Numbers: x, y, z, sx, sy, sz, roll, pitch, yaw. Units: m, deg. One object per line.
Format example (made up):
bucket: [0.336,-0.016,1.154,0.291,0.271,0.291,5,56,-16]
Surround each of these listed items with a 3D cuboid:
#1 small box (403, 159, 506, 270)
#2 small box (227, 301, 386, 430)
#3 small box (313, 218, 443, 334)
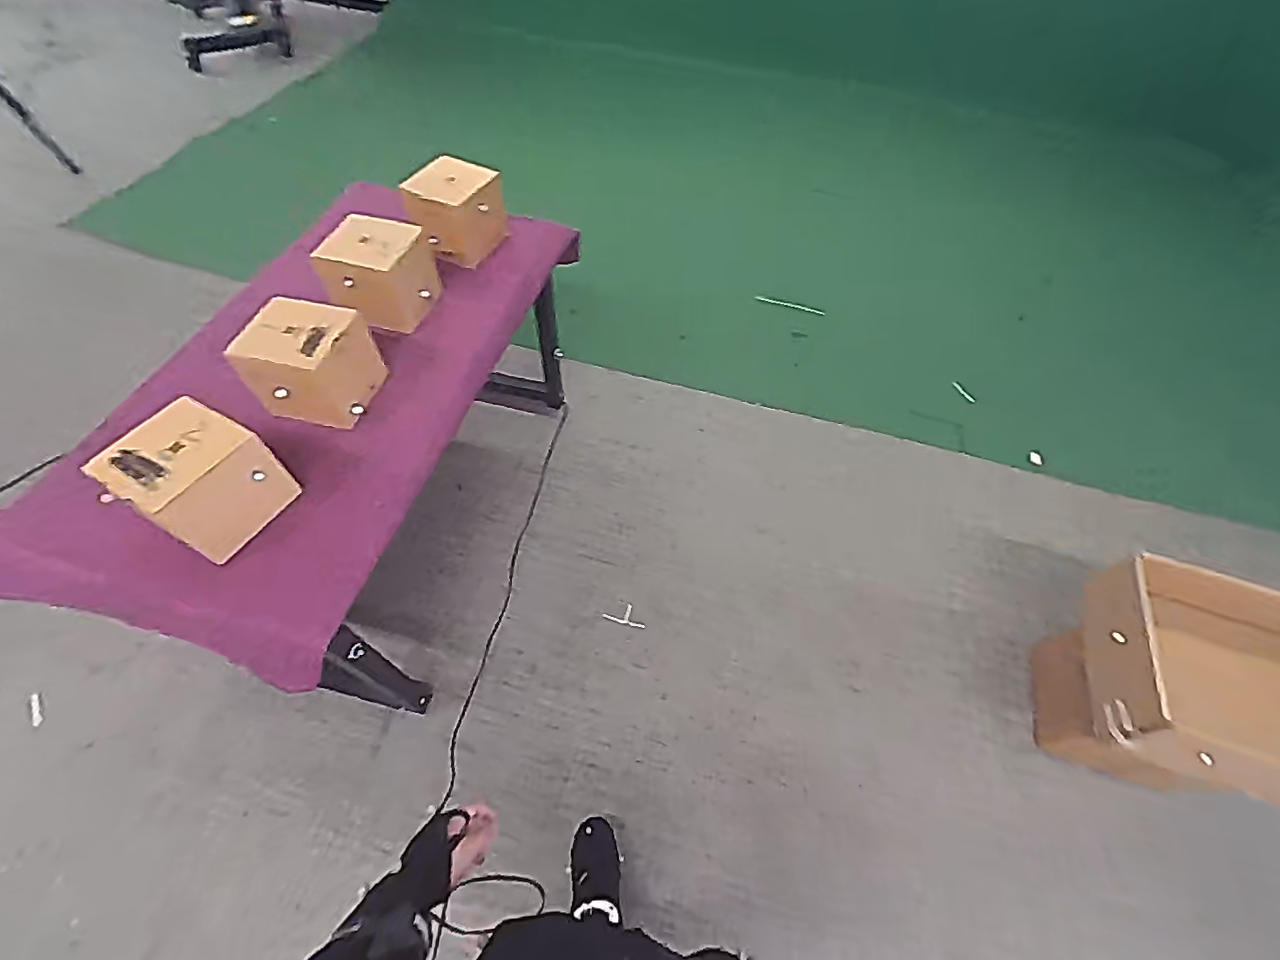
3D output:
small box: [-0.454,-0.665,1.359,0.168,0.176,0.179,22,59,12]
small box: [-0.631,-0.218,1.054,0.179,0.176,0.168,11,56,5]
small box: [-0.575,-0.452,1.212,0.179,0.176,0.168,14,57,6]
